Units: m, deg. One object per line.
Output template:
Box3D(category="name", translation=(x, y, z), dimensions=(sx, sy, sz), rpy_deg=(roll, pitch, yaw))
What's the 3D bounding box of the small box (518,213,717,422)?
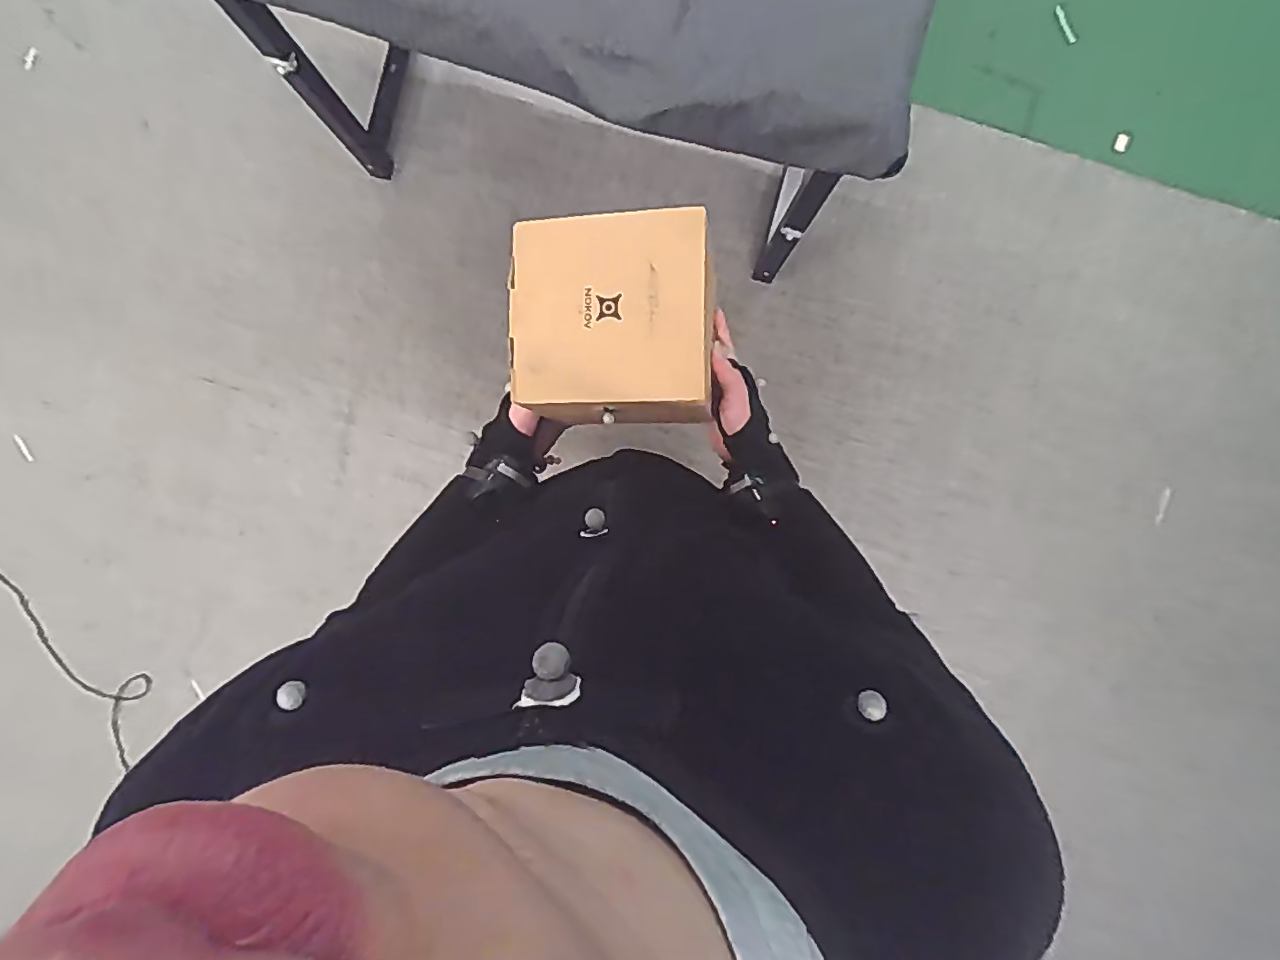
Box3D(category="small box", translation=(-0.012, -0.150, 0.561), dimensions=(0.179, 0.176, 0.168), rpy_deg=(0, 90, 9))
